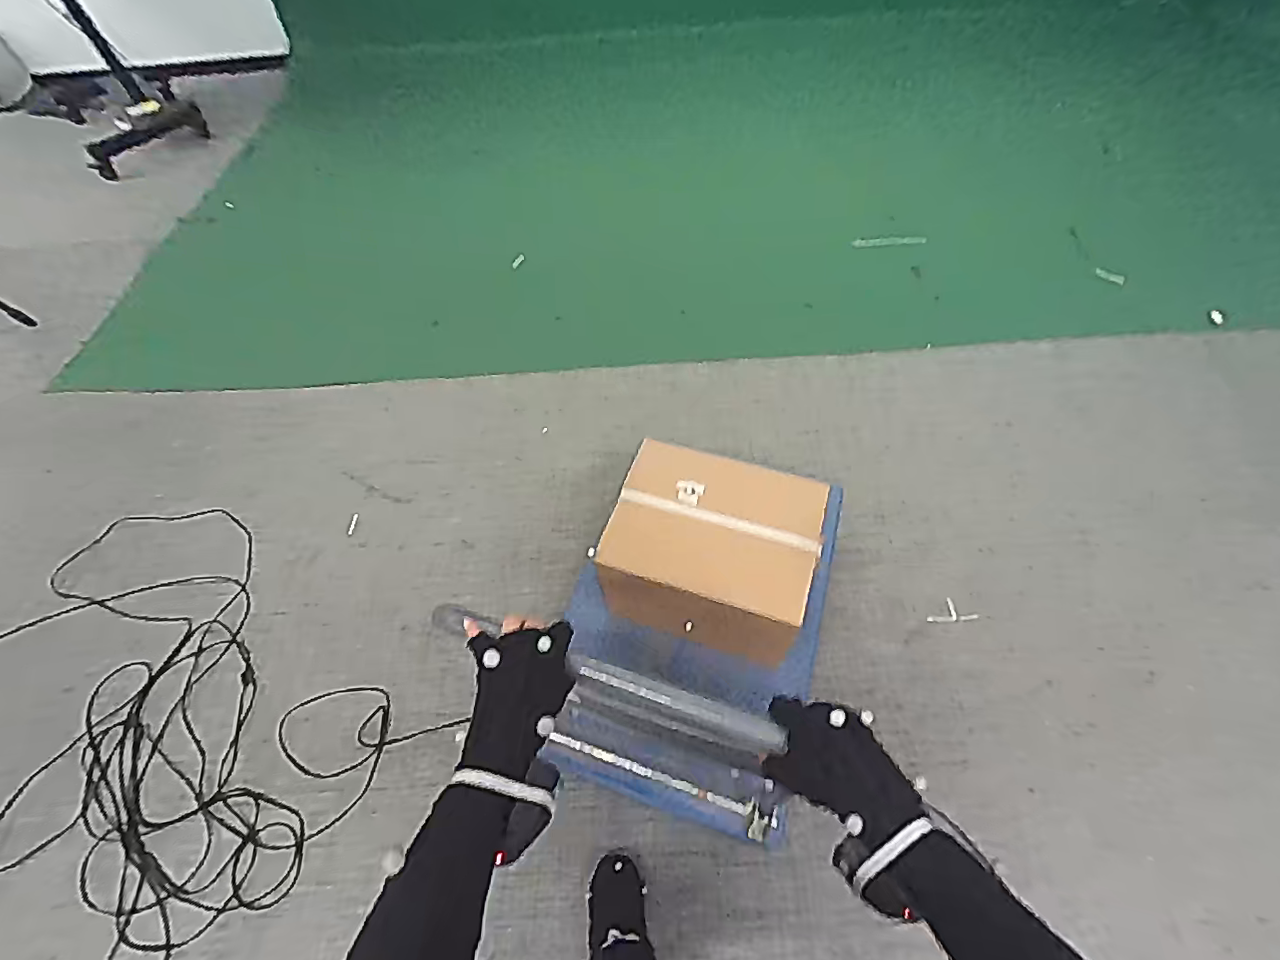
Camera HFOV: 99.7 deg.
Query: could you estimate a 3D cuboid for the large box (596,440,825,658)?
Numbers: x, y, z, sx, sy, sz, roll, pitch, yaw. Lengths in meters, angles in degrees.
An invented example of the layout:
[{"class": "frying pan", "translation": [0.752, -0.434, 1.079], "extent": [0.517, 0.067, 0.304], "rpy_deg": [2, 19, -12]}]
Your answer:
[{"class": "large box", "translation": [0.162, 0.159, 1.208], "extent": [0.408, 0.320, 0.320], "rpy_deg": [14, 58, 14]}]
